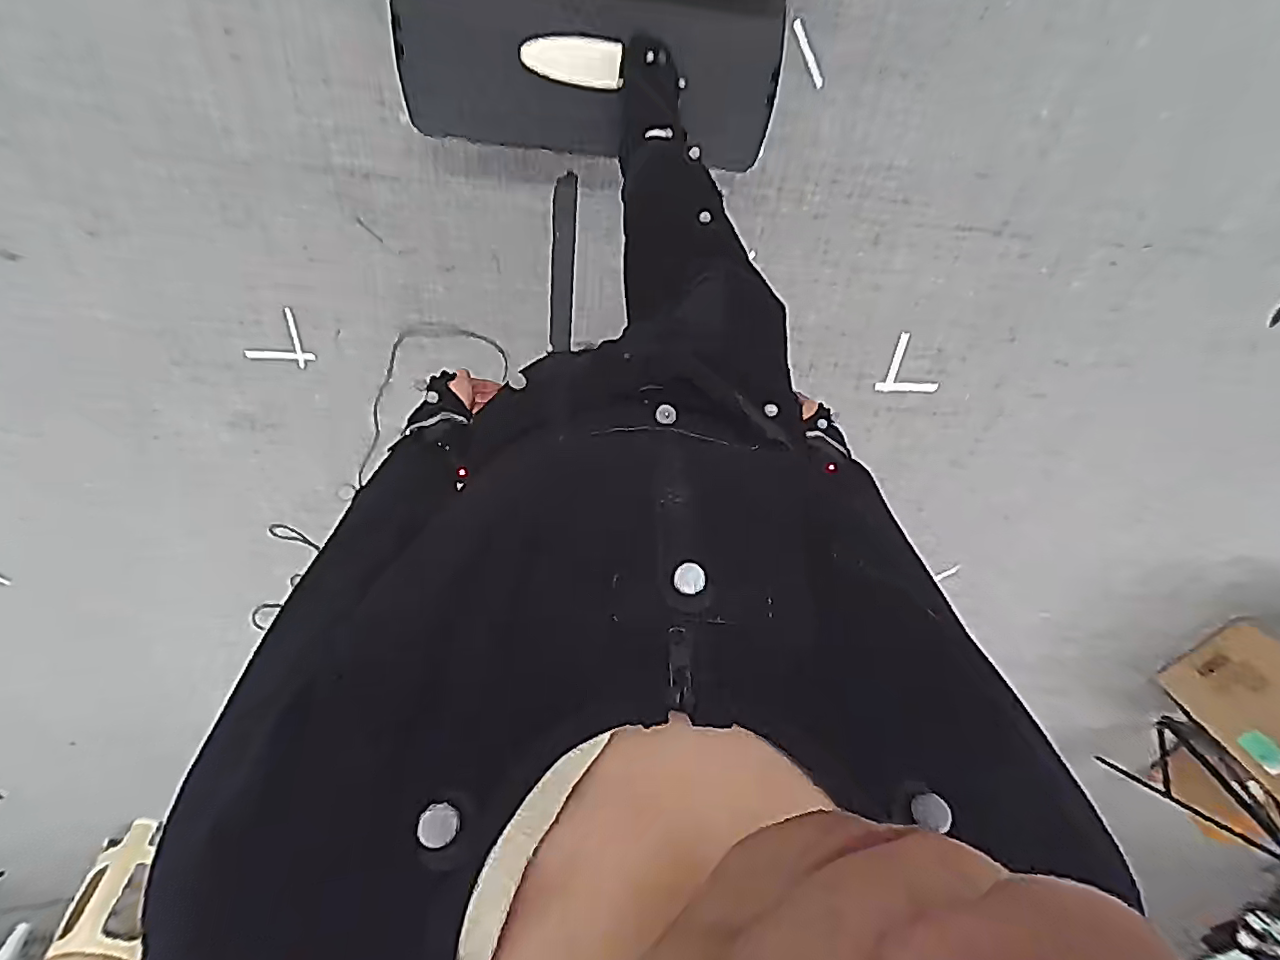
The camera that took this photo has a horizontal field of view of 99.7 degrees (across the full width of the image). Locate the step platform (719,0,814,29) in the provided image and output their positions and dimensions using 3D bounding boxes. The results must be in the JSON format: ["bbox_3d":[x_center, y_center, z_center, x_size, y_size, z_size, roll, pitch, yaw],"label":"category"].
[{"bbox_3d":[-0.020,-0.930,0.804,0.684,0.204,0.286,6,122,-10],"label":"step platform"}]
